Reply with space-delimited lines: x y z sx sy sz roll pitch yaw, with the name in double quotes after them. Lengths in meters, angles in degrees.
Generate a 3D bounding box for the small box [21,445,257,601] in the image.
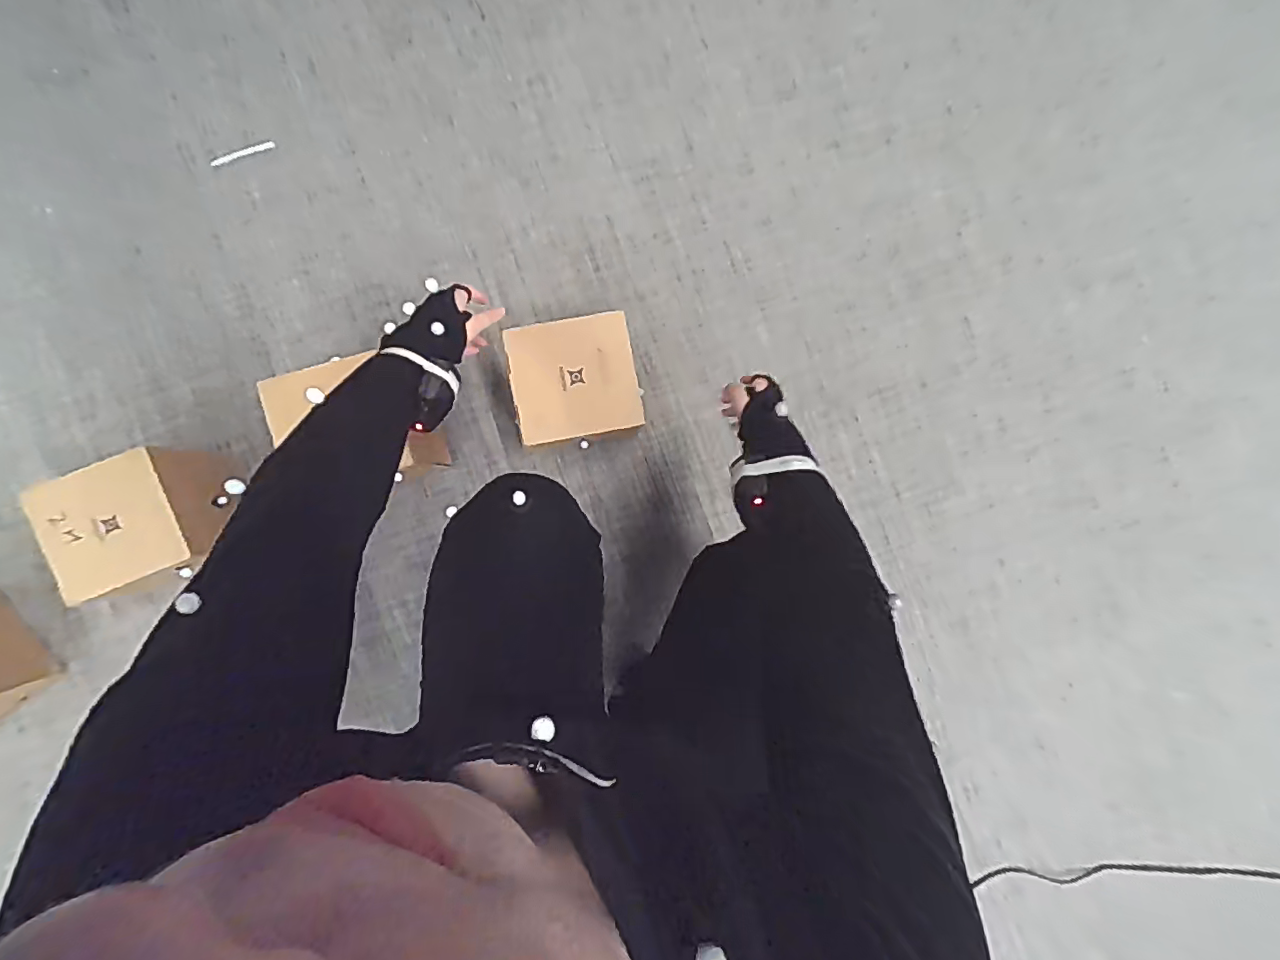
-0.717 0.057 0.803 0.179 0.176 0.168 -22 91 -3 "small box"

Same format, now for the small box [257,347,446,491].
-0.422 -0.081 0.818 0.179 0.176 0.168 -16 91 -3 "small box"

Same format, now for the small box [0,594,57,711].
-1.043 0.284 0.790 0.168 0.176 0.179 -38 92 -2 "small box"

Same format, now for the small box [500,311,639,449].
-0.101 -0.143 0.833 0.179 0.176 0.168 -10 91 -3 "small box"
